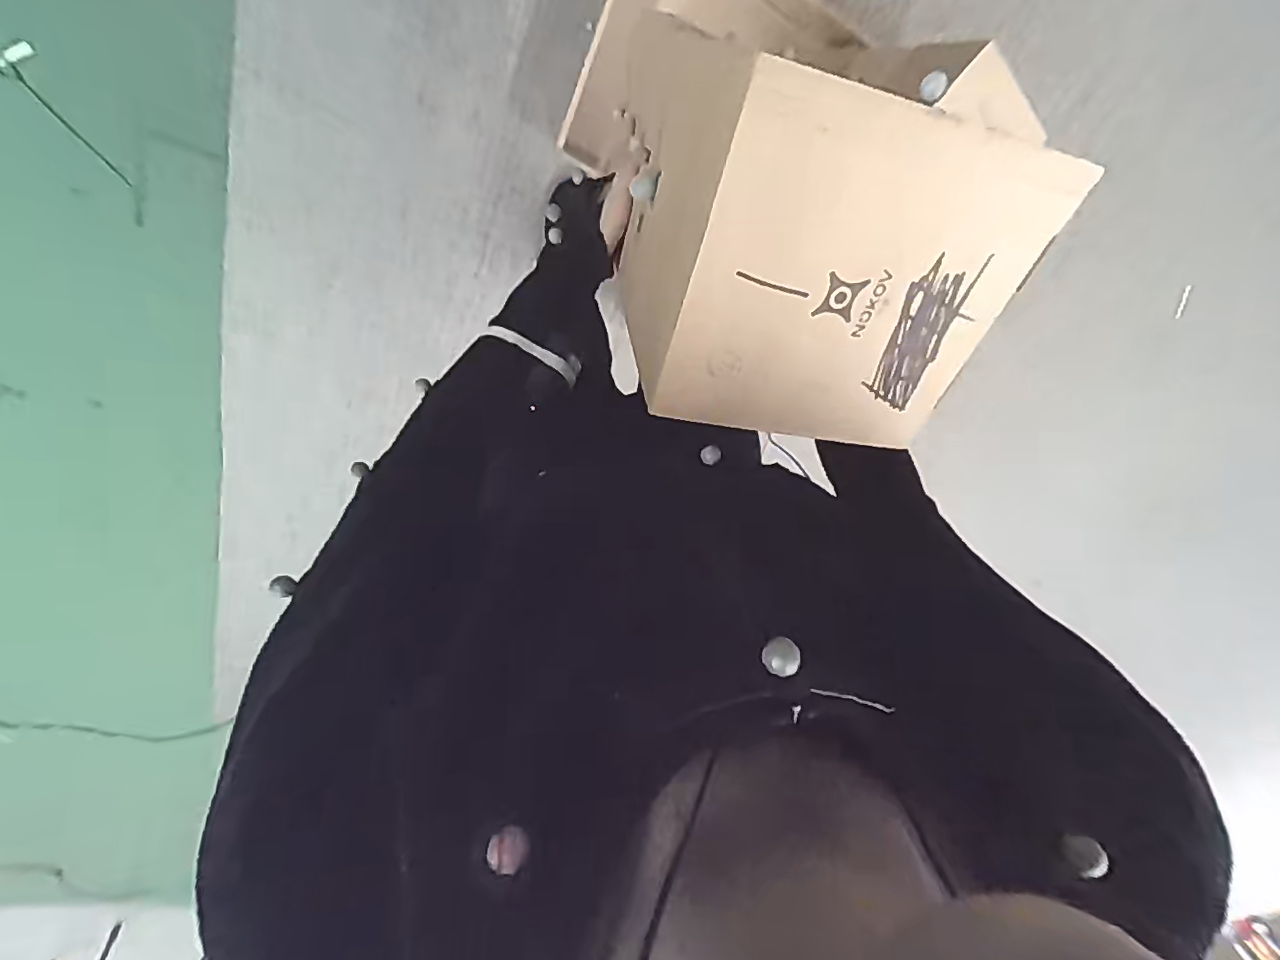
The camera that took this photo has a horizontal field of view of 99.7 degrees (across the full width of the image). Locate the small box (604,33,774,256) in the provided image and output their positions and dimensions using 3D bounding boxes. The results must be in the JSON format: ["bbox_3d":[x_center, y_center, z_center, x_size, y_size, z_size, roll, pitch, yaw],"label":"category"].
[{"bbox_3d":[0.070,-0.242,0.456,0.168,0.176,0.179,9,130,-16],"label":"small box"}]

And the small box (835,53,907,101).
[{"bbox_3d":[0.388,-0.575,0.917,0.179,0.176,0.168,29,119,-26],"label":"small box"}]

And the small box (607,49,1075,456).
[{"bbox_3d":[0.085,-0.137,0.329,0.179,0.176,0.168,7,129,-15],"label":"small box"}]

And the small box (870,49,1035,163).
[{"bbox_3d":[0.408,-0.477,0.787,0.168,0.176,0.179,31,117,-28],"label":"small box"}]
